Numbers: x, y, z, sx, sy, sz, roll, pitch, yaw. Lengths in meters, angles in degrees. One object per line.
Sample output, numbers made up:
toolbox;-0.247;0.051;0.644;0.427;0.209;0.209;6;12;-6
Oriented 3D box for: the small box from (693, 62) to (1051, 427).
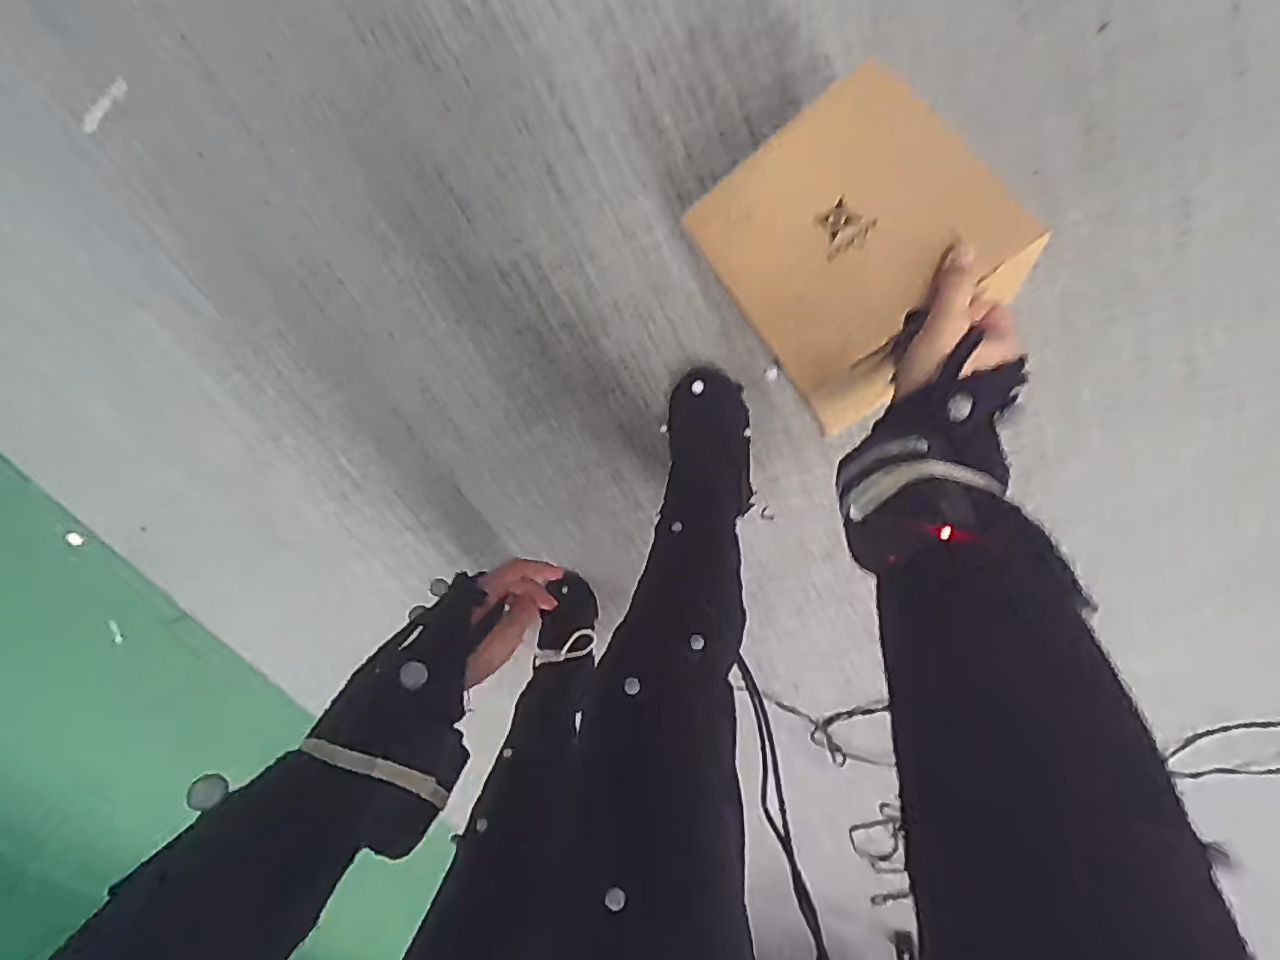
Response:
small box;0.172;-0.165;0.440;0.168;0.176;0.179;-35;73;17
